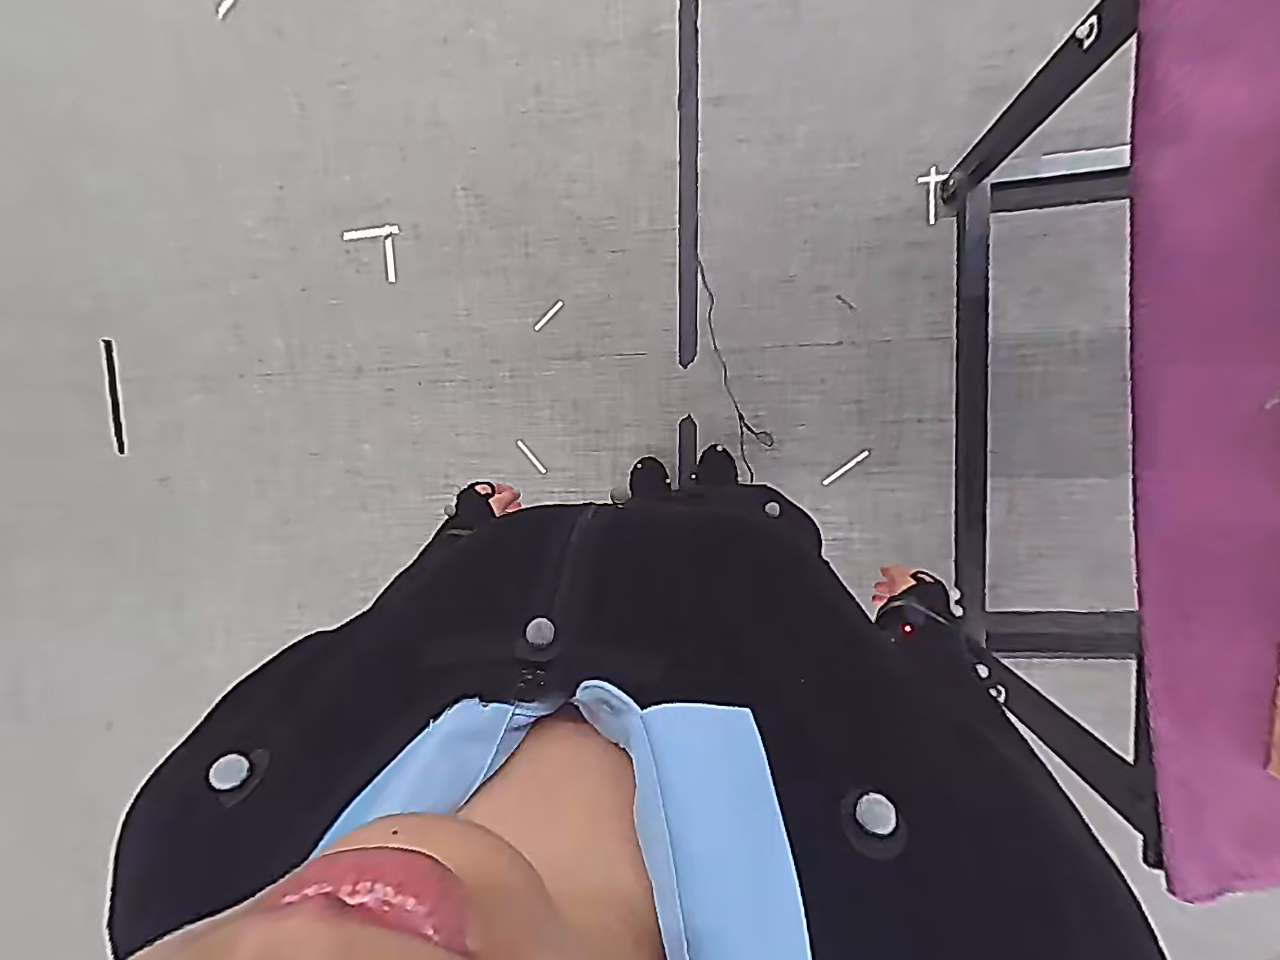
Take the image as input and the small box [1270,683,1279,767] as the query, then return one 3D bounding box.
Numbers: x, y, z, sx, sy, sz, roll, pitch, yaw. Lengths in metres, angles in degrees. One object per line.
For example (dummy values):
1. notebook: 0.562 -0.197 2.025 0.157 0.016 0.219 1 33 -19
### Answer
1. small box: 0.853 0.293 0.578 0.168 0.176 0.179 2 94 7
